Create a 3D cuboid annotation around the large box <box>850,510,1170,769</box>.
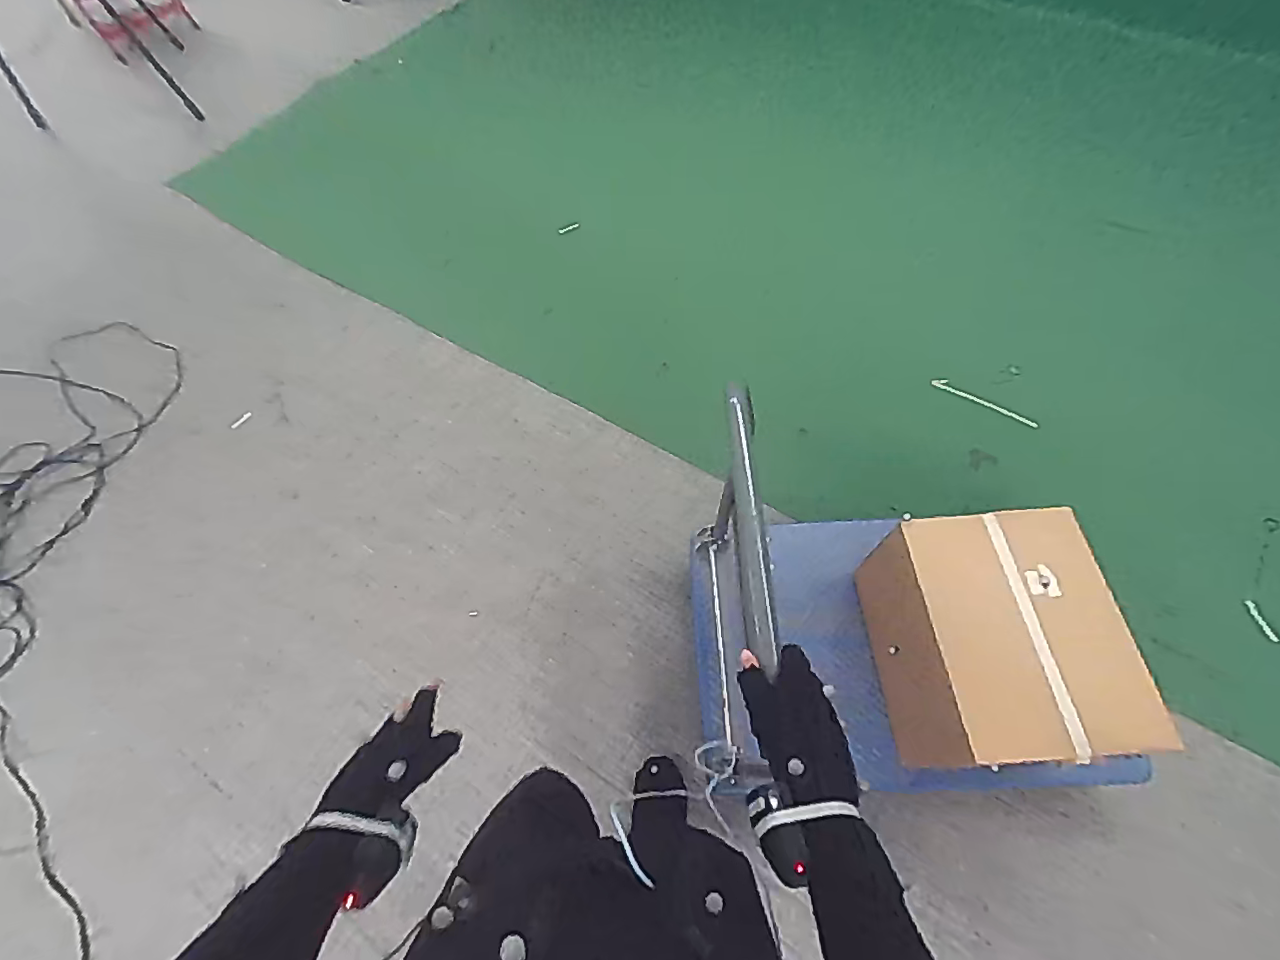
[{"bbox_3d":[0.637,0.312,1.032,0.320,0.320,0.408,-4,61,1],"label":"large box"}]
